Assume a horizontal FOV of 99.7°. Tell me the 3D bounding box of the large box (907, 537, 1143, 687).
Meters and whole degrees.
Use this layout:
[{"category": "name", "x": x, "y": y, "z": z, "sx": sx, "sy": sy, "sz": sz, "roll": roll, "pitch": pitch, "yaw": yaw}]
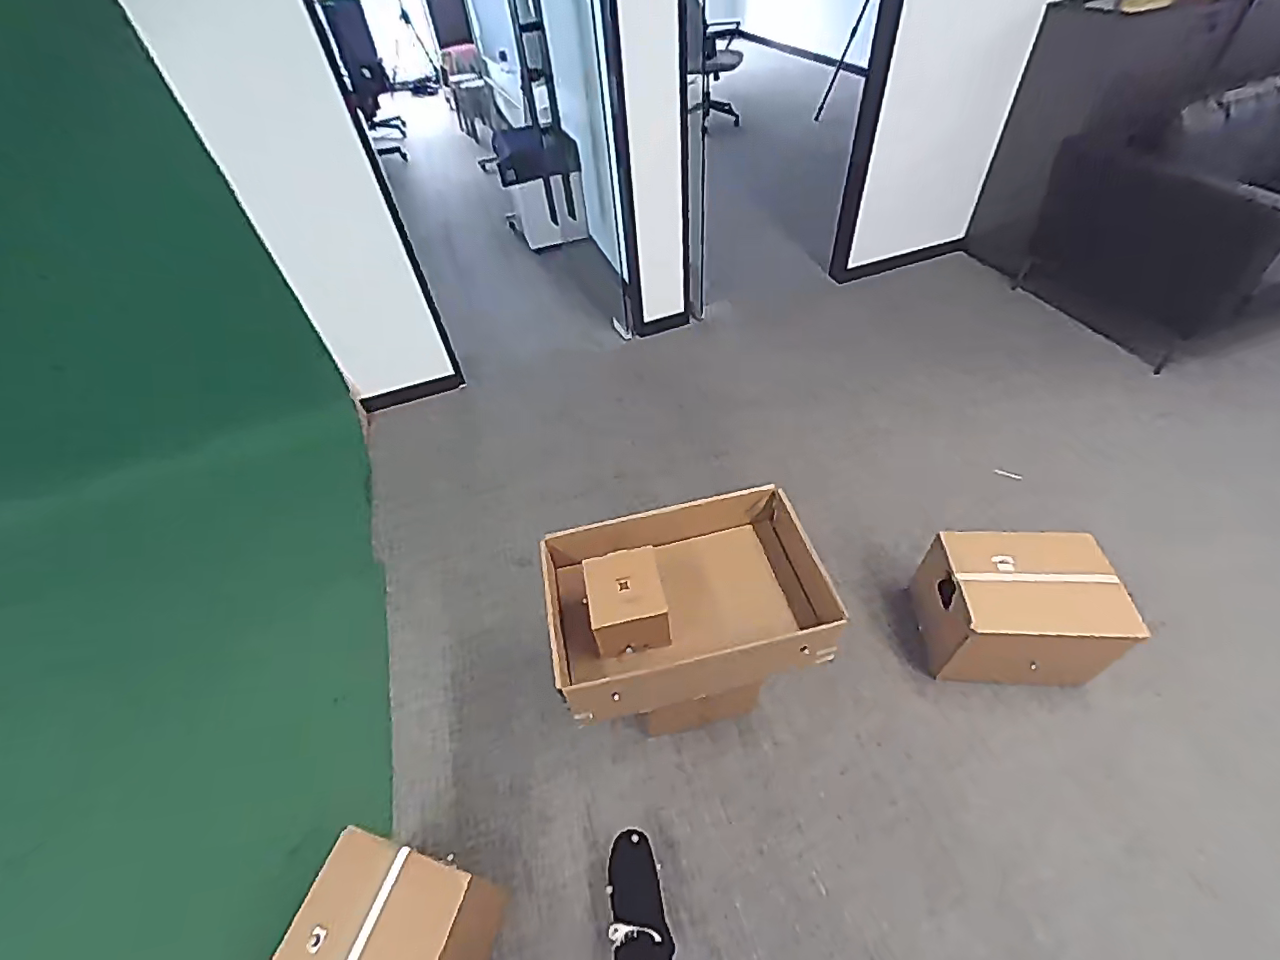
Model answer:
[{"category": "large box", "x": 1.036, "y": 0.375, "z": 1.522, "sx": 0.408, "sy": 0.320, "sz": 0.320, "roll": 0, "pitch": 47, "yaw": 6}]
